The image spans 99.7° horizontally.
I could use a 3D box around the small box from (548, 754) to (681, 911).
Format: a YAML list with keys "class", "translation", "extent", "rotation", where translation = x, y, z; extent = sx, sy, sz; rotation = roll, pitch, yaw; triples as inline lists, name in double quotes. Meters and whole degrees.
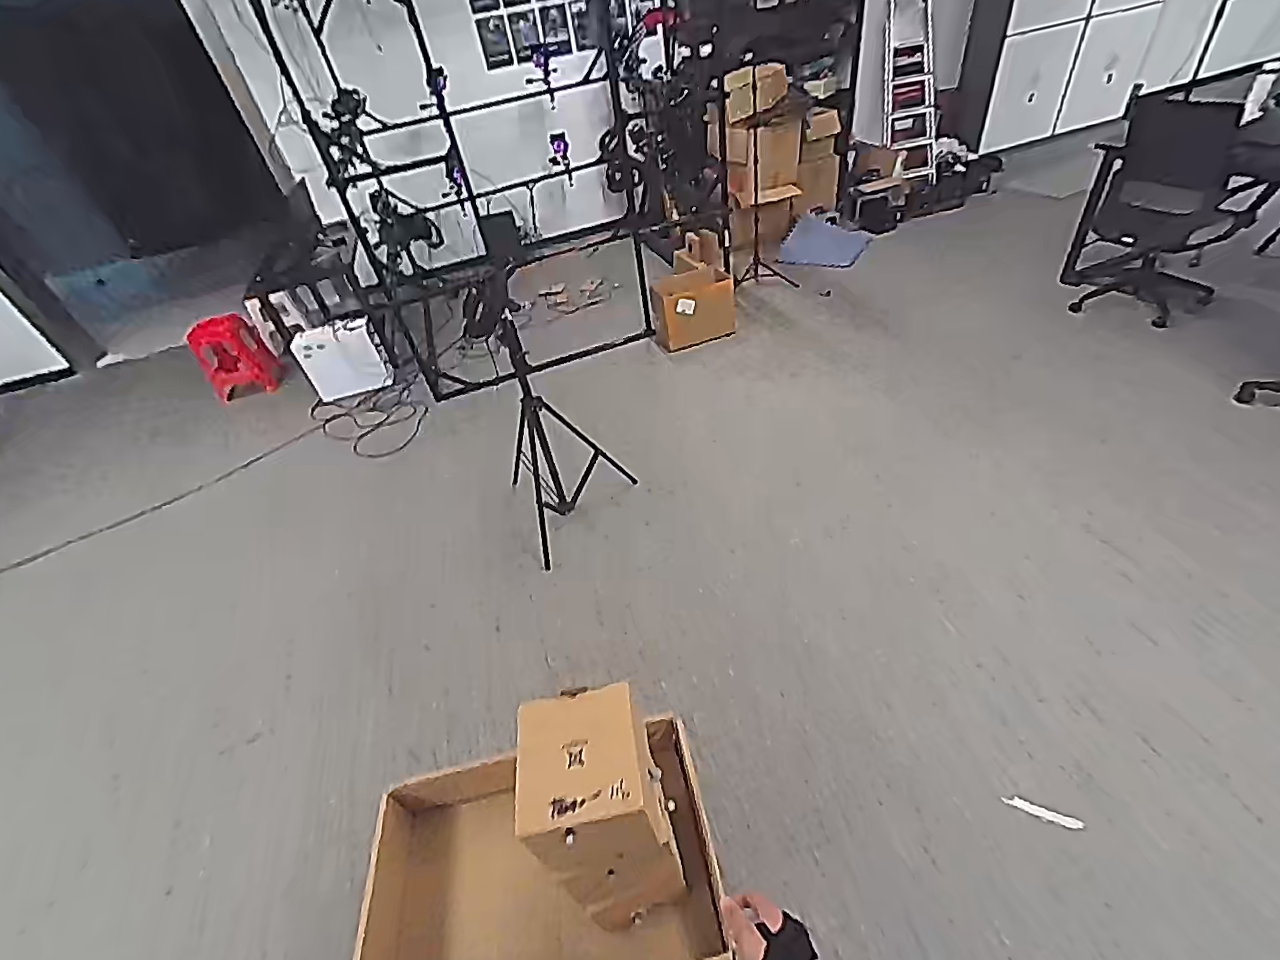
- class: "small box"
  translation: [-0.046, 0.555, 0.868]
  extent: [0.179, 0.176, 0.168]
  rotation: [-16, 40, -4]

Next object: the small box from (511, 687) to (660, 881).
- class: "small box"
  translation: [-0.073, 0.429, 0.767]
  extent: [0.168, 0.176, 0.179]
  rotation: [-13, 39, 1]
